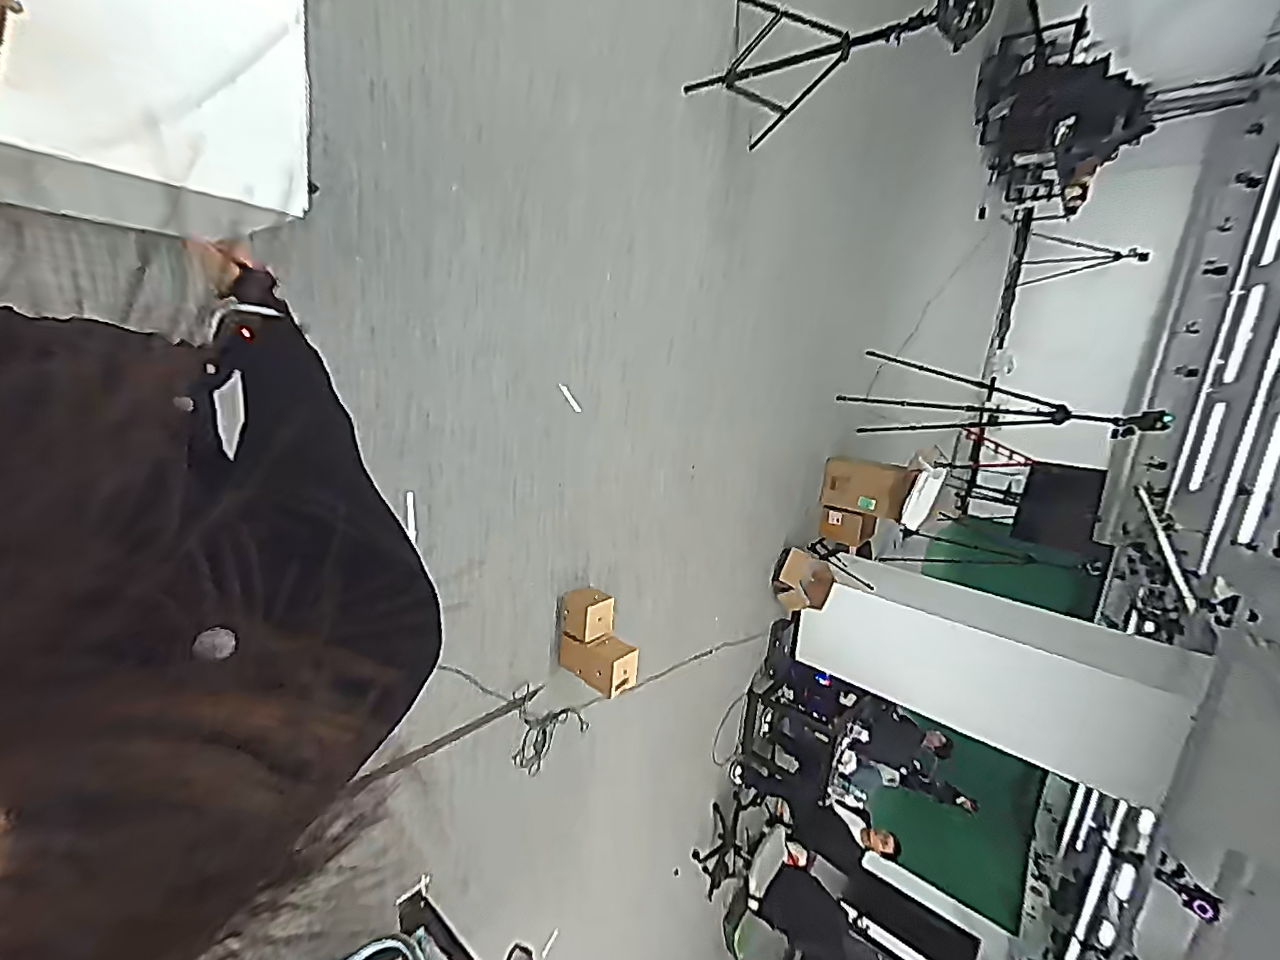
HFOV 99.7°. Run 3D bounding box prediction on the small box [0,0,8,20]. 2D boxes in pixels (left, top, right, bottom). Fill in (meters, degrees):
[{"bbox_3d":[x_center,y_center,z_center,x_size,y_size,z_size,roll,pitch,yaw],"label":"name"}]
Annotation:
[{"bbox_3d":[-0.608,-0.466,0.394,0.179,0.176,0.168,-9,108,-48],"label":"small box"}]
